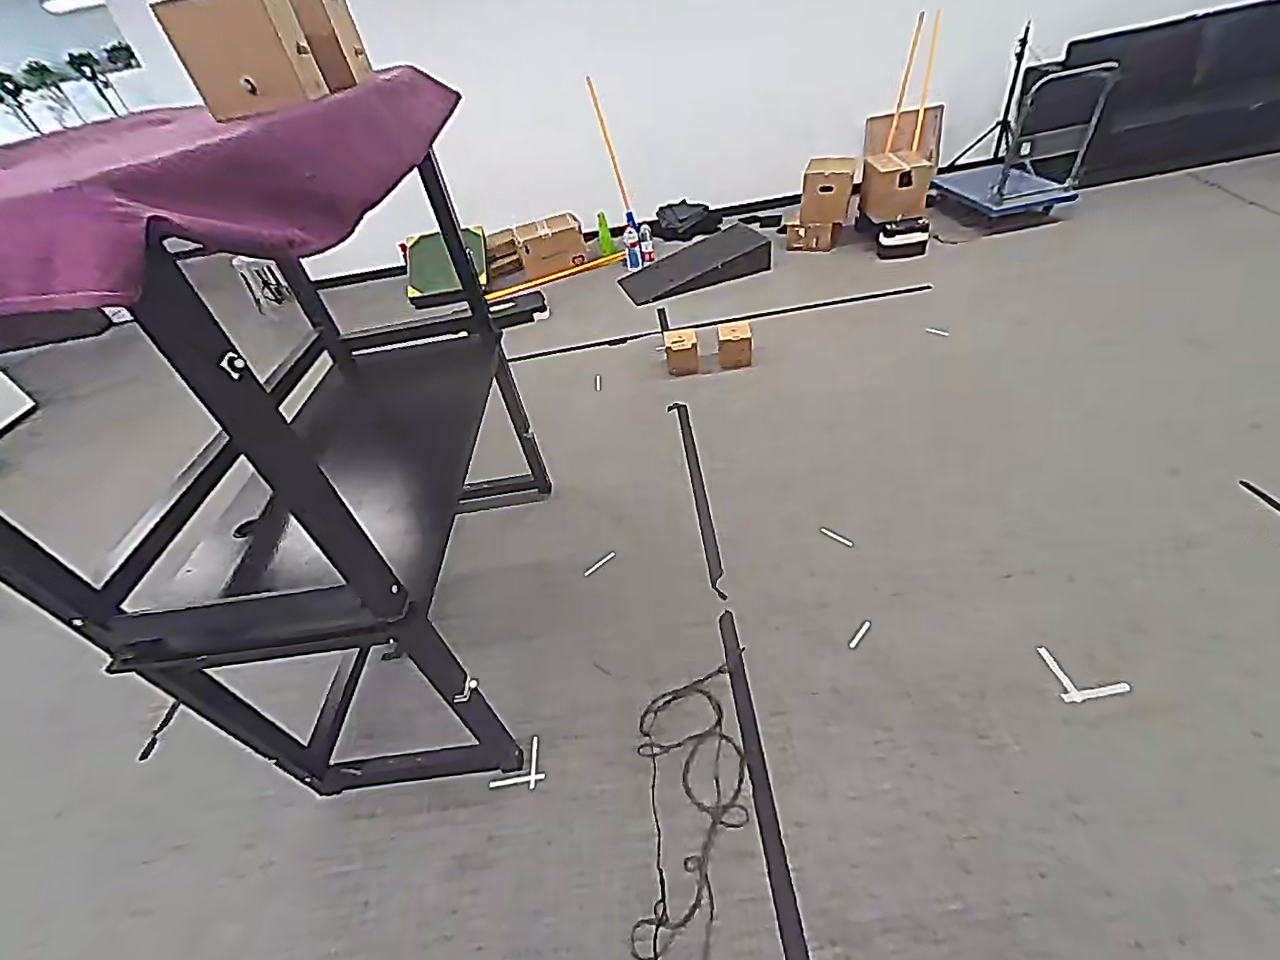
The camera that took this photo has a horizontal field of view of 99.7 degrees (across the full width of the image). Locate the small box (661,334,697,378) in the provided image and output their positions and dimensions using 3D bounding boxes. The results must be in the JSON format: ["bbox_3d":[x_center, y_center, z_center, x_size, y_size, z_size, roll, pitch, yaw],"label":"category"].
[{"bbox_3d":[0.210,-0.659,2.900,0.168,0.176,0.179,-7,40,4],"label":"small box"}]

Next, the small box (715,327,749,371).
[{"bbox_3d":[0.490,-0.693,2.882,0.168,0.176,0.179,-5,41,6],"label":"small box"}]

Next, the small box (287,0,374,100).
[{"bbox_3d":[-0.741,-0.963,1.221,0.179,0.176,0.168,-11,42,1],"label":"small box"}]

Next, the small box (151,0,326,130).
[{"bbox_3d":[-0.718,-0.767,0.997,0.179,0.176,0.168,-14,40,-4],"label":"small box"}]
